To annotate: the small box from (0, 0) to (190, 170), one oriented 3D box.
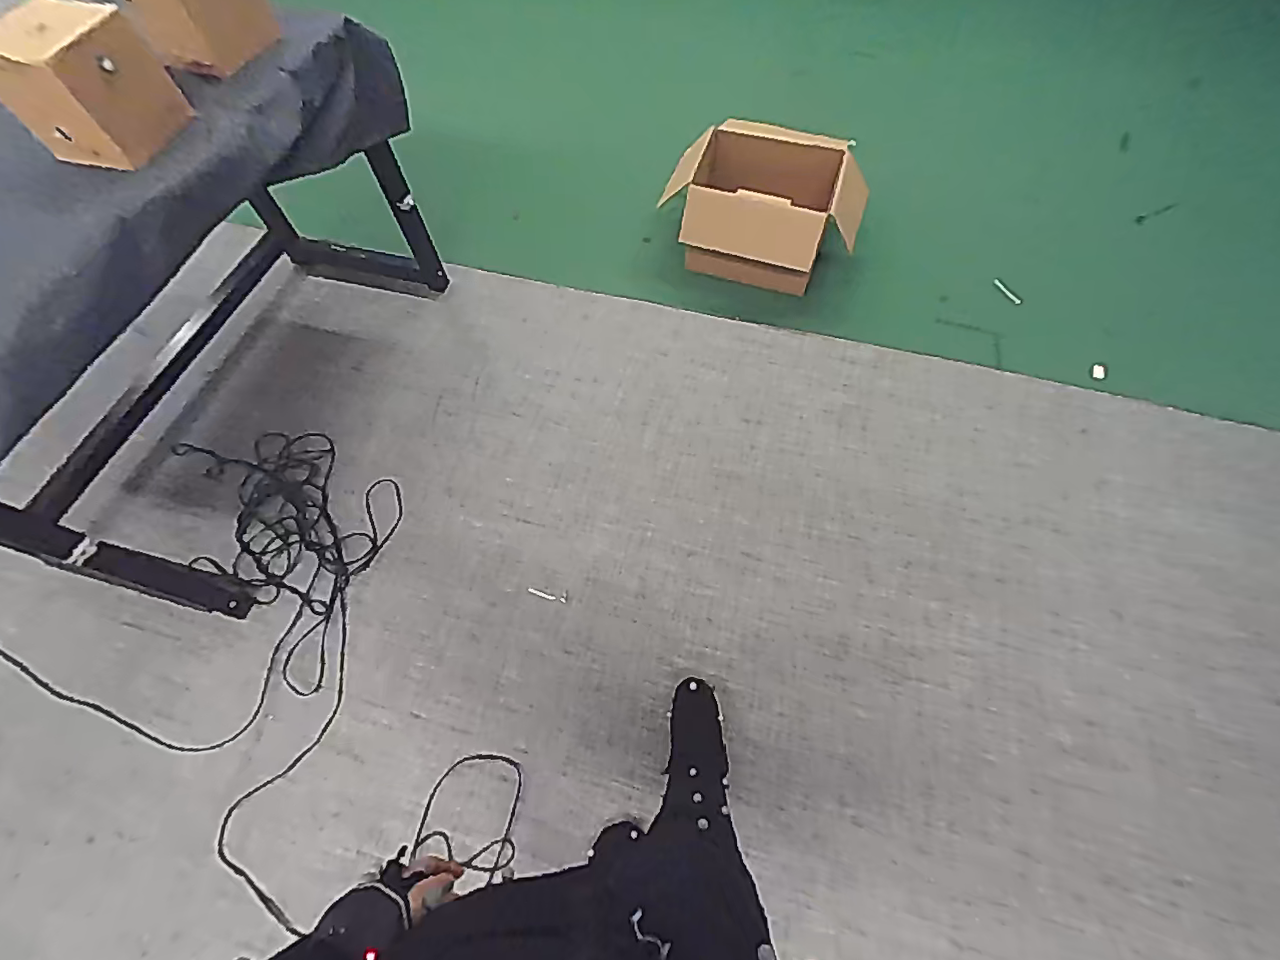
[{"bbox_3d":[-0.923,-0.664,0.912,0.168,0.176,0.179,11,64,7],"label":"small box"}]
